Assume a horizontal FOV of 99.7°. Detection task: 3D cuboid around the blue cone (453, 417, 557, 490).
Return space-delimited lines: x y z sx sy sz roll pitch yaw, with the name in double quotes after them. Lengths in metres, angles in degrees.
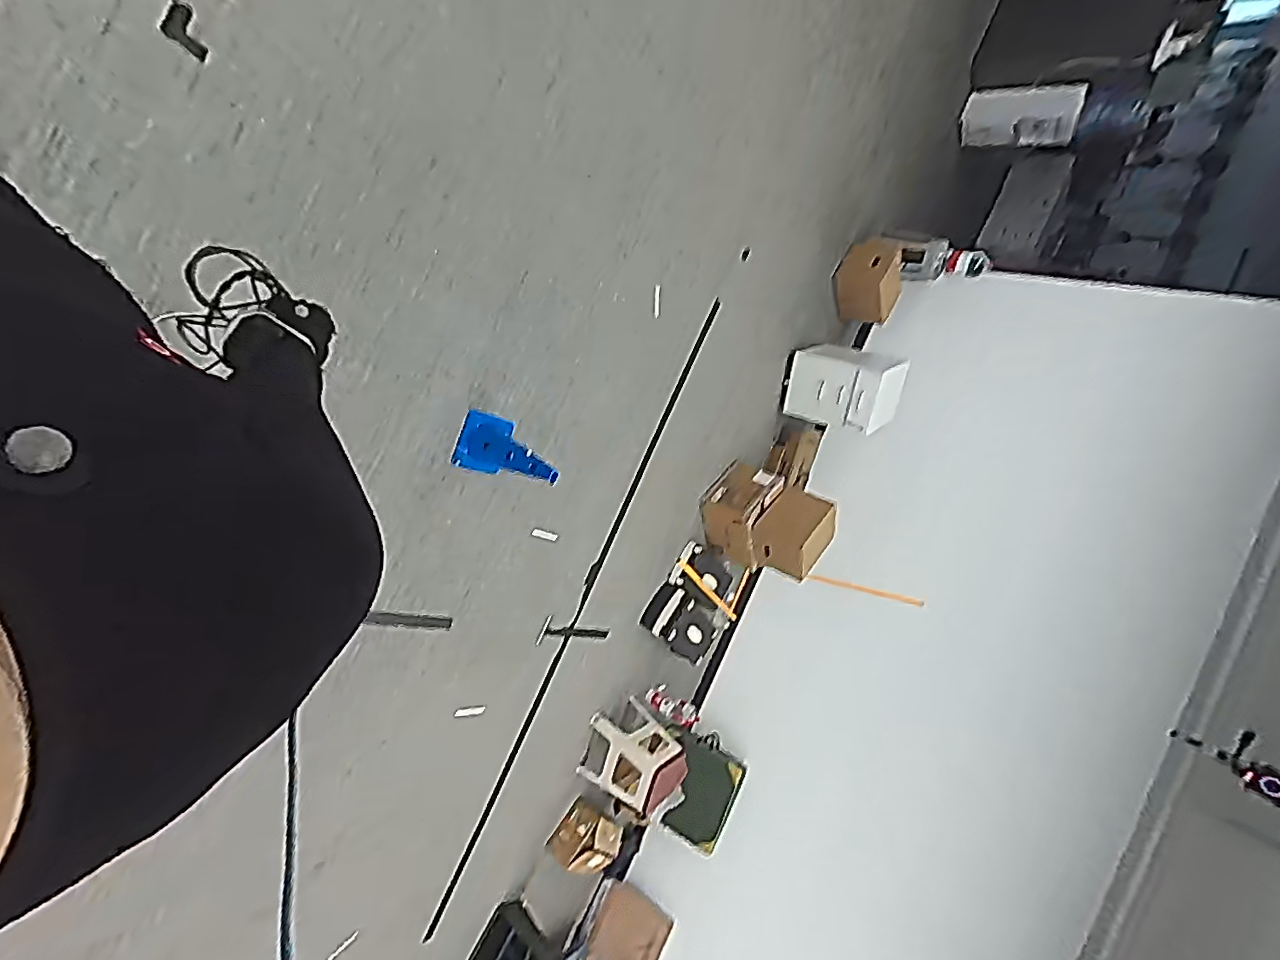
-0.403 -0.057 1.729 0.193 0.380 0.192 19 93 -56 "blue cone"
